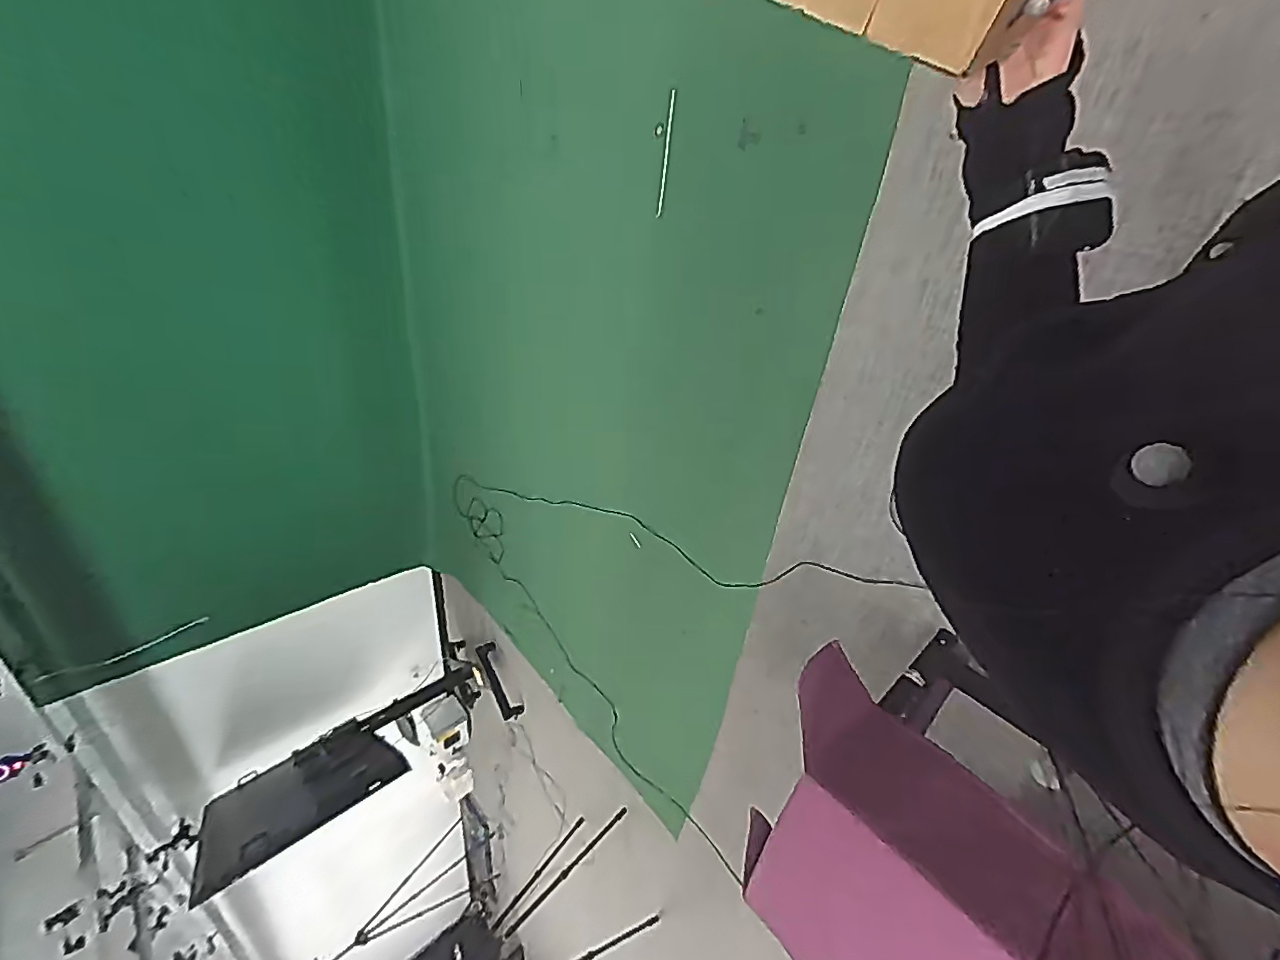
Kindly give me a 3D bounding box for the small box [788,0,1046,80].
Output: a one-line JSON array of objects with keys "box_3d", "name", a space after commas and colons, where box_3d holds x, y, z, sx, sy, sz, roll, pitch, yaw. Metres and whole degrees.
[{"box_3d": [0.181, -0.361, 0.296, 0.168, 0.179, 0.176, 37, 143, 14], "name": "small box"}]
